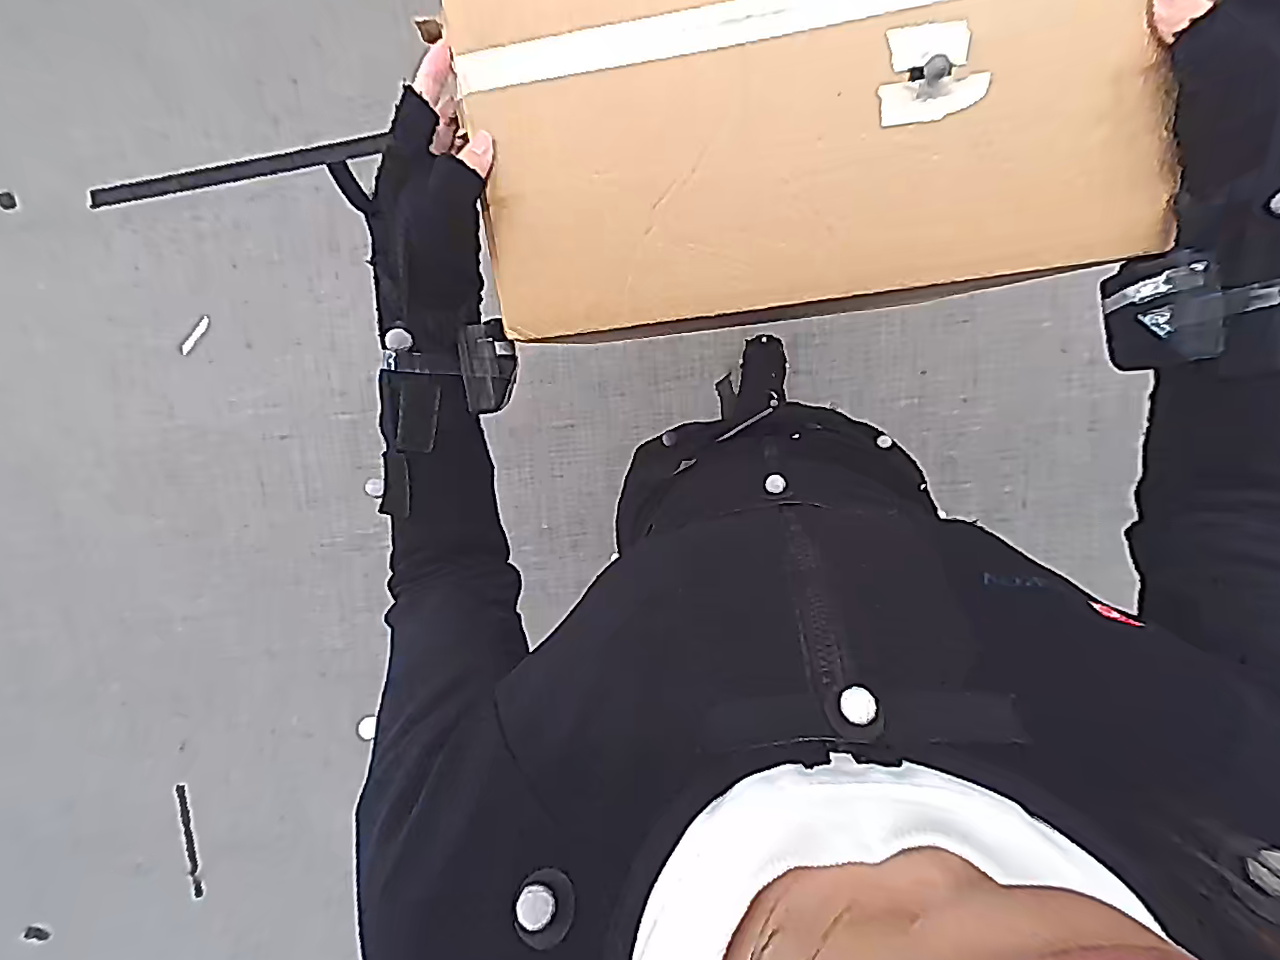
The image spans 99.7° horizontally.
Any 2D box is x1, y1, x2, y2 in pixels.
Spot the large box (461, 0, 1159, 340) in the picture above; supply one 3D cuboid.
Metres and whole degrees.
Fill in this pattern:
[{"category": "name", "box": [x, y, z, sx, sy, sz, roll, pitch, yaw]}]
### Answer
[{"category": "large box", "box": [0.100, -0.308, 0.462, 0.408, 0.320, 0.320, -7, 104, 5]}]
